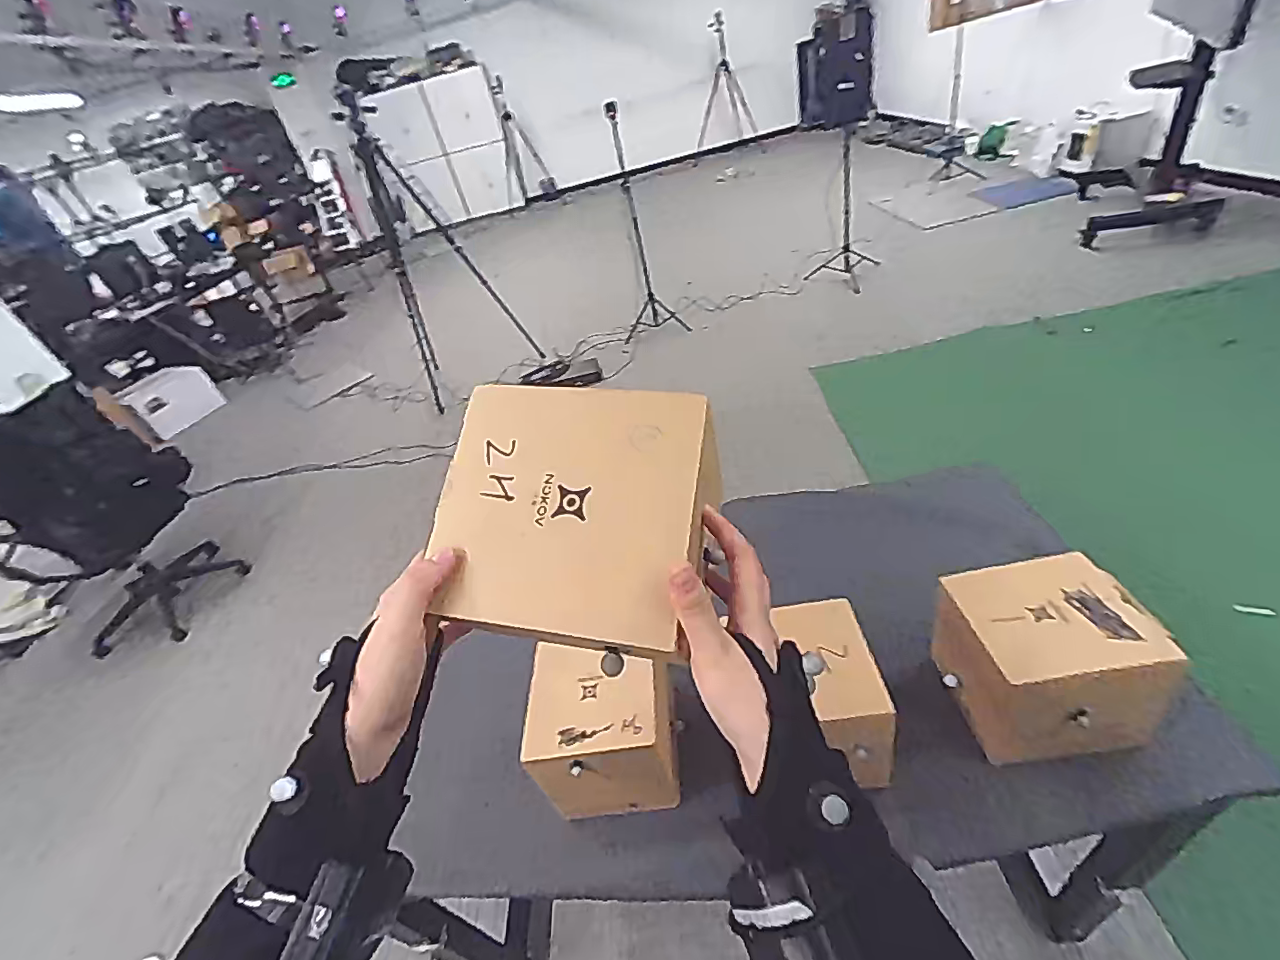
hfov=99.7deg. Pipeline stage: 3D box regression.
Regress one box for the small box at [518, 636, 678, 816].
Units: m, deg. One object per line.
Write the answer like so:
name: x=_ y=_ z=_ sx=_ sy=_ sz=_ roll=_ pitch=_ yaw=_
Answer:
small box: x=-0.046 y=0.323 z=0.737 sx=0.168 sy=0.176 sz=0.179 roll=-12 pitch=35 yaw=8

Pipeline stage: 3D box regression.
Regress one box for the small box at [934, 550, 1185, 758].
small box: x=0.488 y=0.214 z=0.666 sx=0.179 sy=0.176 sz=0.168 roll=-12 pitch=34 yaw=8

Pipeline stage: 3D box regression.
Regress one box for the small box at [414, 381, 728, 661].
small box: x=-0.030 y=0.041 z=0.418 sx=0.179 sy=0.176 sz=0.168 roll=5 pitch=70 yaw=15
